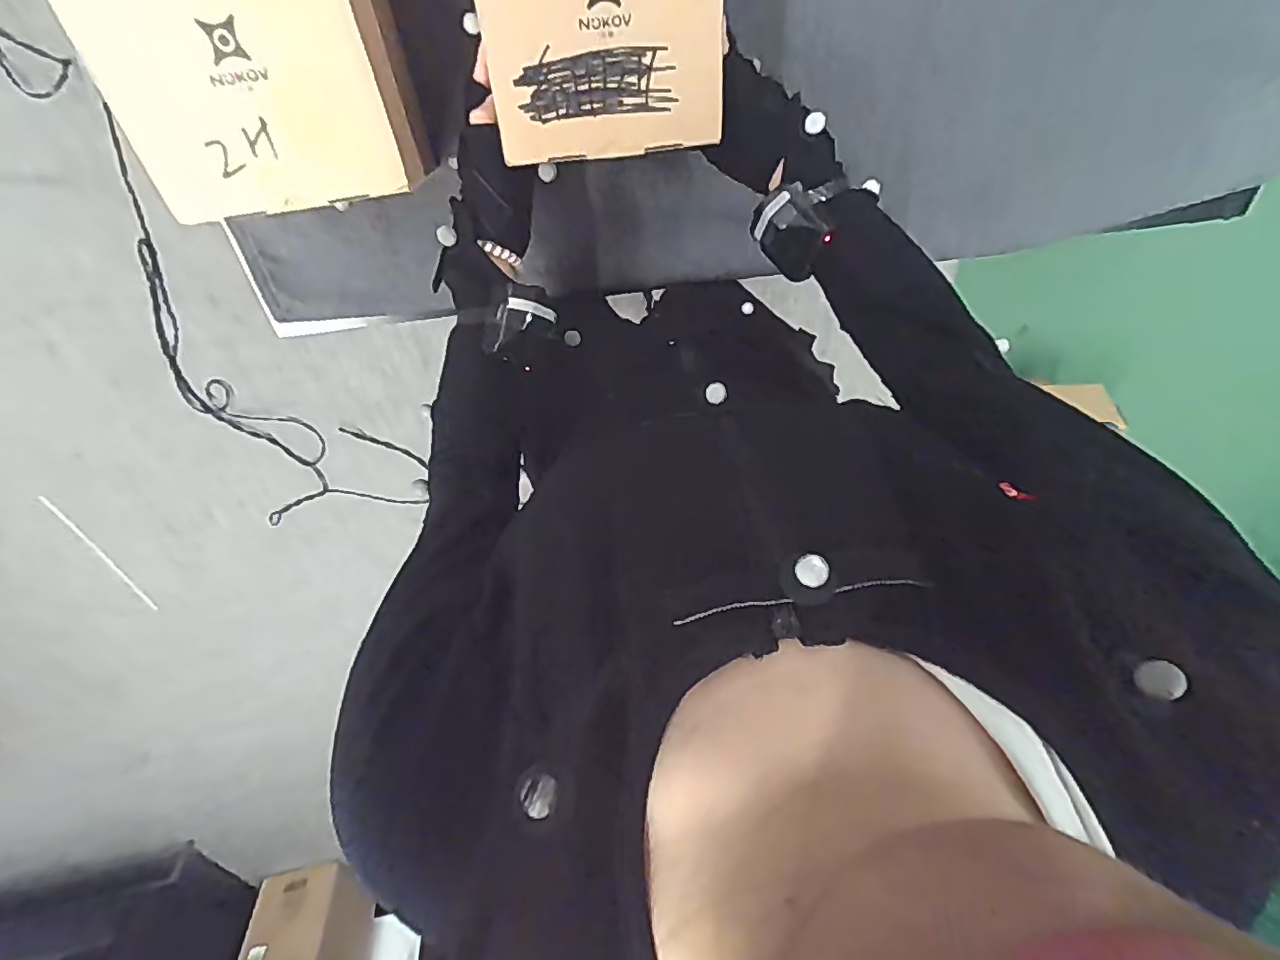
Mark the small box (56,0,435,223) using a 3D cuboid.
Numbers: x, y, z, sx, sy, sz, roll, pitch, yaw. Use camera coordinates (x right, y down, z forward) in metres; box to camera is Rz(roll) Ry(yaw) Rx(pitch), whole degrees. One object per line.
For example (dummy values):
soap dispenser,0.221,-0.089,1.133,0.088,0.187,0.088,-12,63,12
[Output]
small box,-0.268,-0.310,0.403,0.168,0.176,0.179,-11,126,-5
